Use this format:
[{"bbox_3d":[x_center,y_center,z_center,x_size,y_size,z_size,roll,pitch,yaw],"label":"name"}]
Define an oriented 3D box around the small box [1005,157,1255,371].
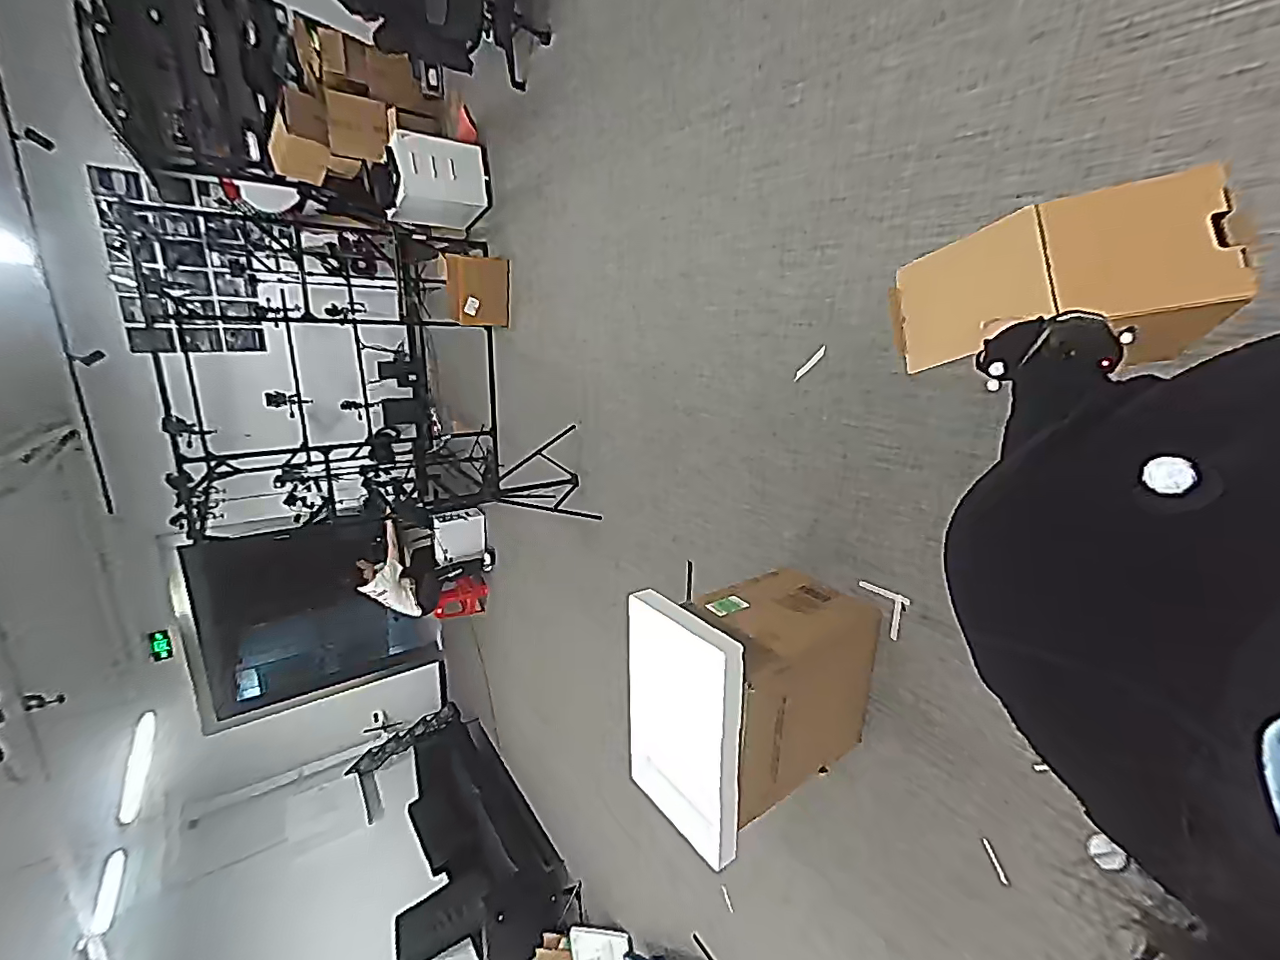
[{"bbox_3d":[0.577,-0.248,0.671,0.179,0.176,0.168,-5,78,20],"label":"small box"}]
